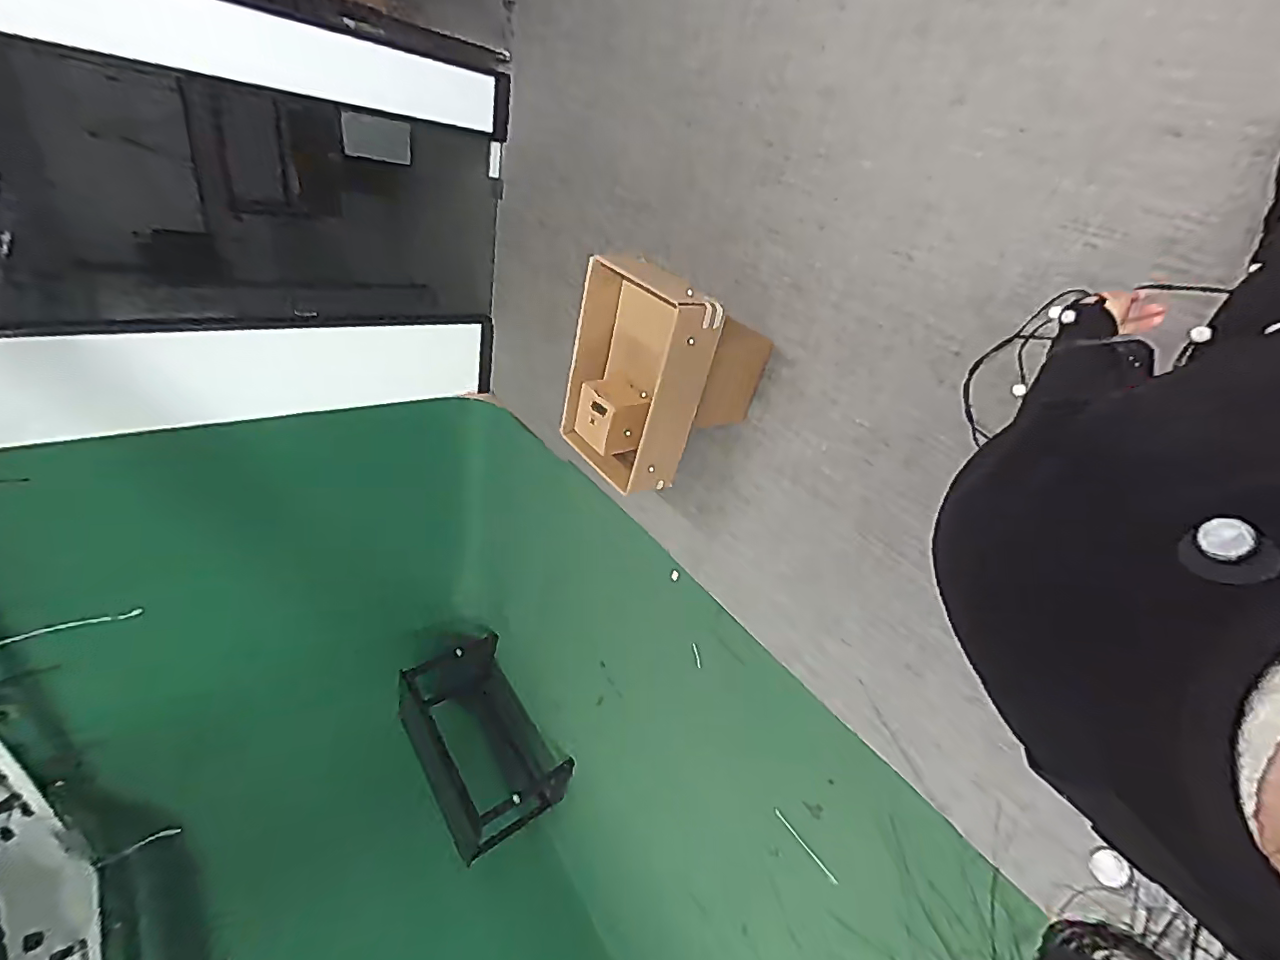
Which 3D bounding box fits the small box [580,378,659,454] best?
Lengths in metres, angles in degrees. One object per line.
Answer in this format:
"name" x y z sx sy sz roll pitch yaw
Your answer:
"small box" -0.063 -0.208 1.704 0.168 0.176 0.179 43 132 34
